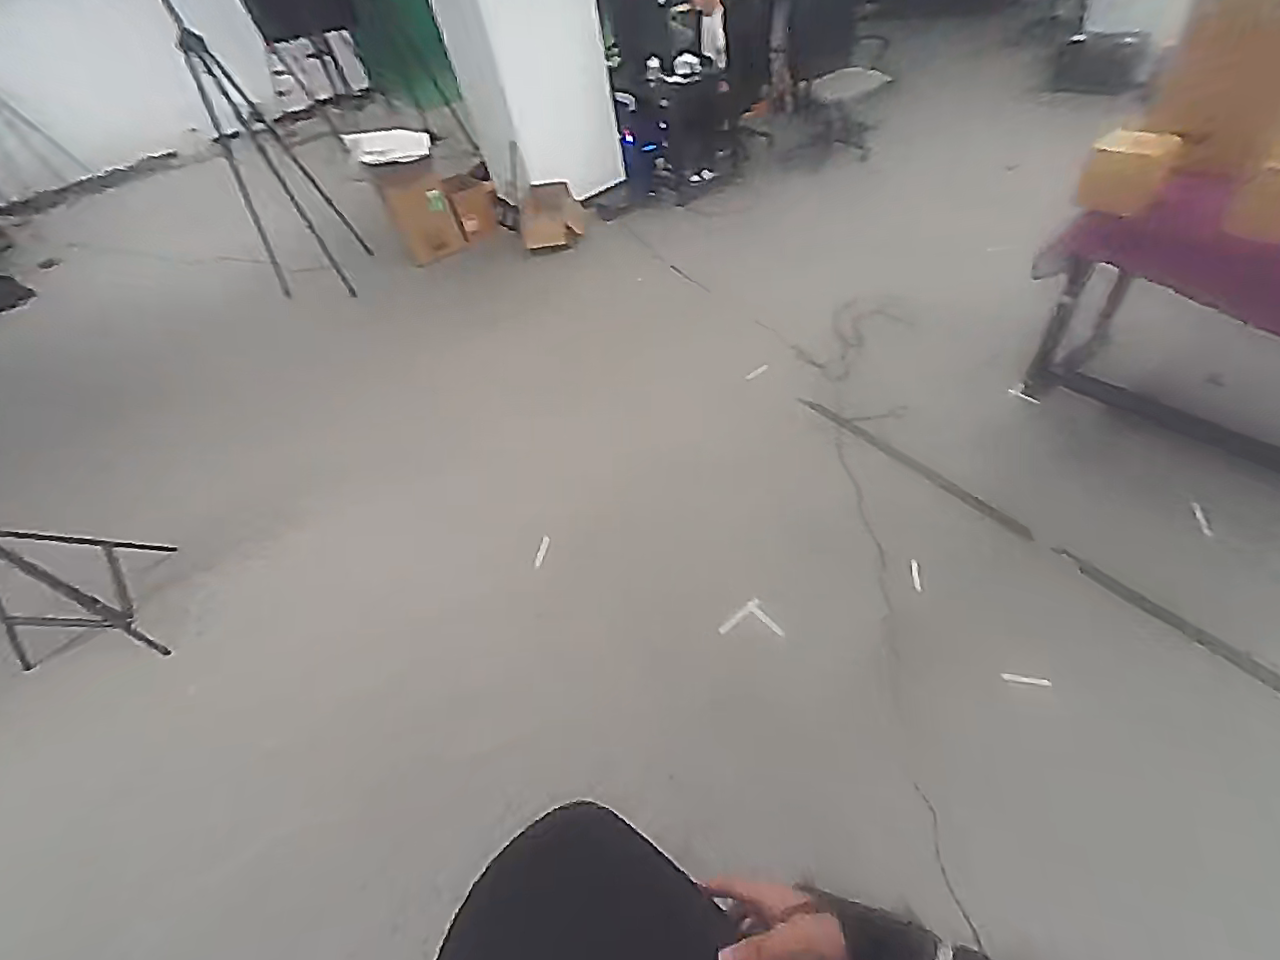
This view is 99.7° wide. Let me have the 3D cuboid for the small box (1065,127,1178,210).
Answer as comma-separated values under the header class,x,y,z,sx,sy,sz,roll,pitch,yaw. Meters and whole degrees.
class,x,y,z,sx,sy,sz,roll,pitch,yaw
small box,1.443,-0.939,1.633,0.168,0.176,0.179,-35,51,-19
